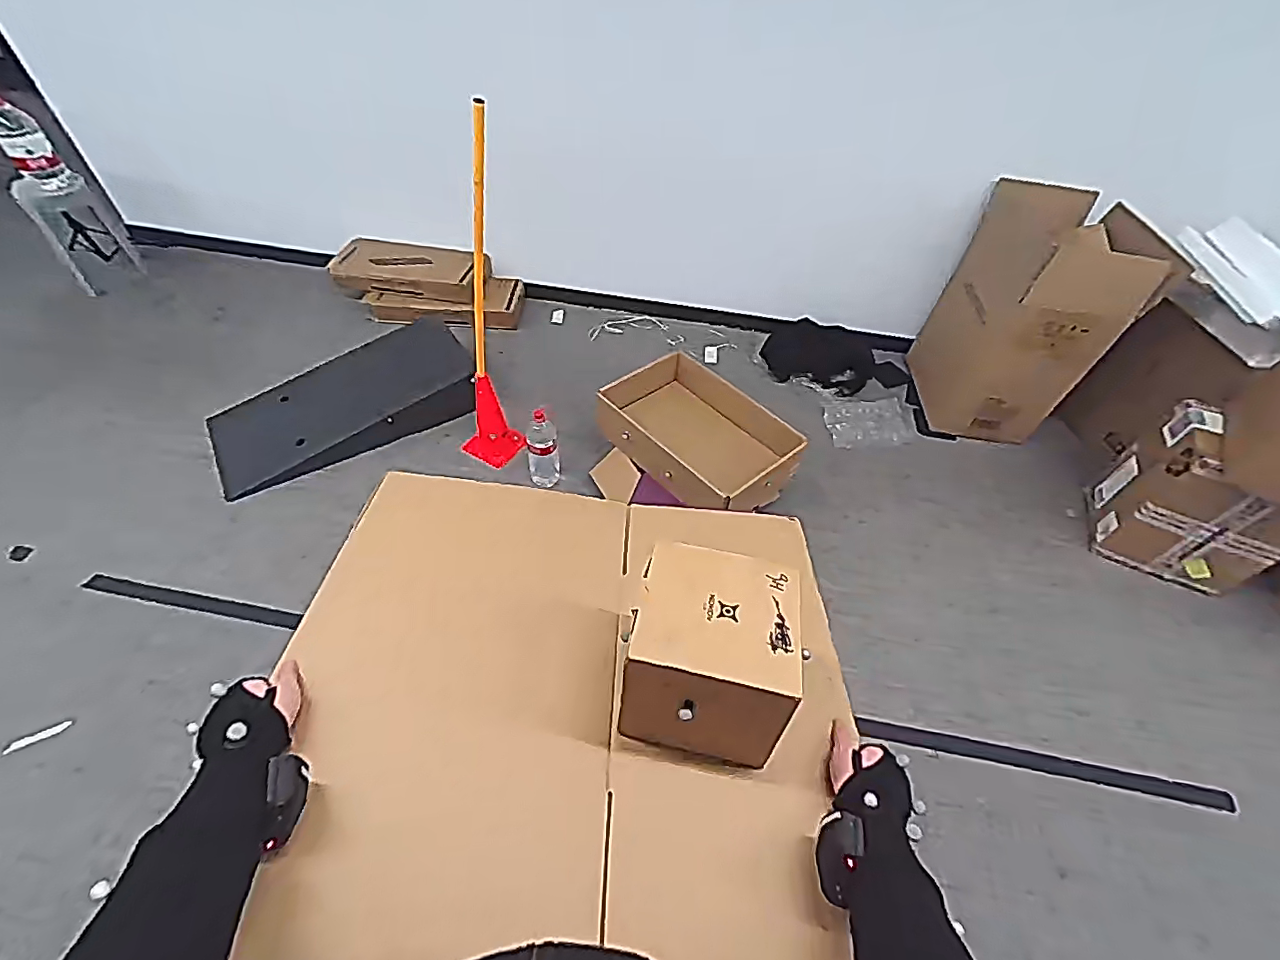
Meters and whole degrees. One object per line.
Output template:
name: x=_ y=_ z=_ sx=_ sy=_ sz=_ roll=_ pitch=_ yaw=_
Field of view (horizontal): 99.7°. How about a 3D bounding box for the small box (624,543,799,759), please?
small box: x=0.081 y=0.203 z=0.641 sx=0.179 sy=0.176 sz=0.168 roll=10 pitch=42 yaw=6
